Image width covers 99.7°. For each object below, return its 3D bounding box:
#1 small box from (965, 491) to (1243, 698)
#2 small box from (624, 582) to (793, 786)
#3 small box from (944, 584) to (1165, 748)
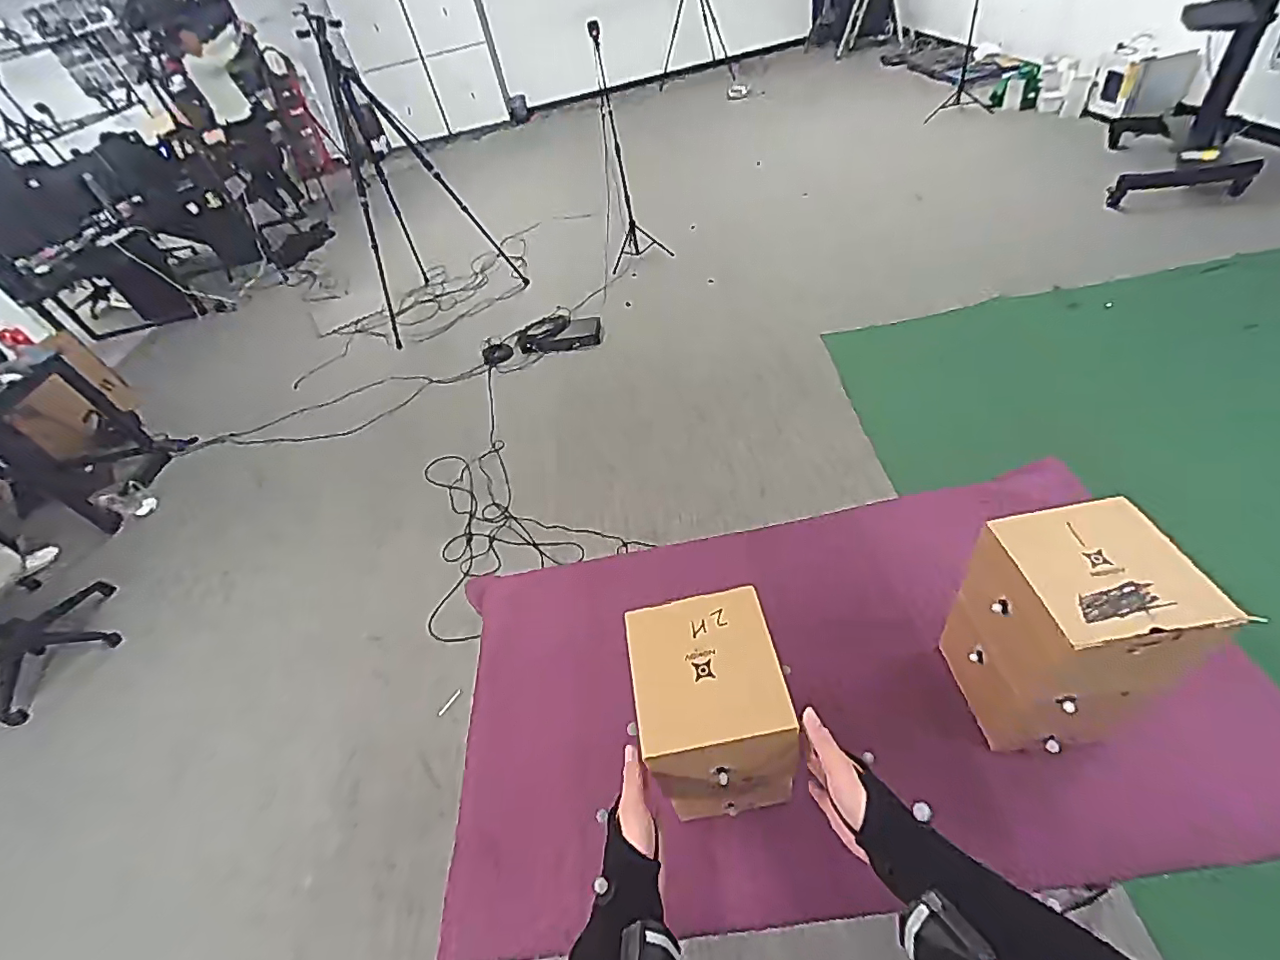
[{"bbox_3d":[0.525,0.145,0.650,0.168,0.176,0.179,-11,43,6],"label":"small box"},{"bbox_3d":[0.084,0.256,0.663,0.168,0.176,0.179,-12,45,3],"label":"small box"},{"bbox_3d":[0.560,0.255,0.767,0.168,0.176,0.179,-11,45,7],"label":"small box"}]
